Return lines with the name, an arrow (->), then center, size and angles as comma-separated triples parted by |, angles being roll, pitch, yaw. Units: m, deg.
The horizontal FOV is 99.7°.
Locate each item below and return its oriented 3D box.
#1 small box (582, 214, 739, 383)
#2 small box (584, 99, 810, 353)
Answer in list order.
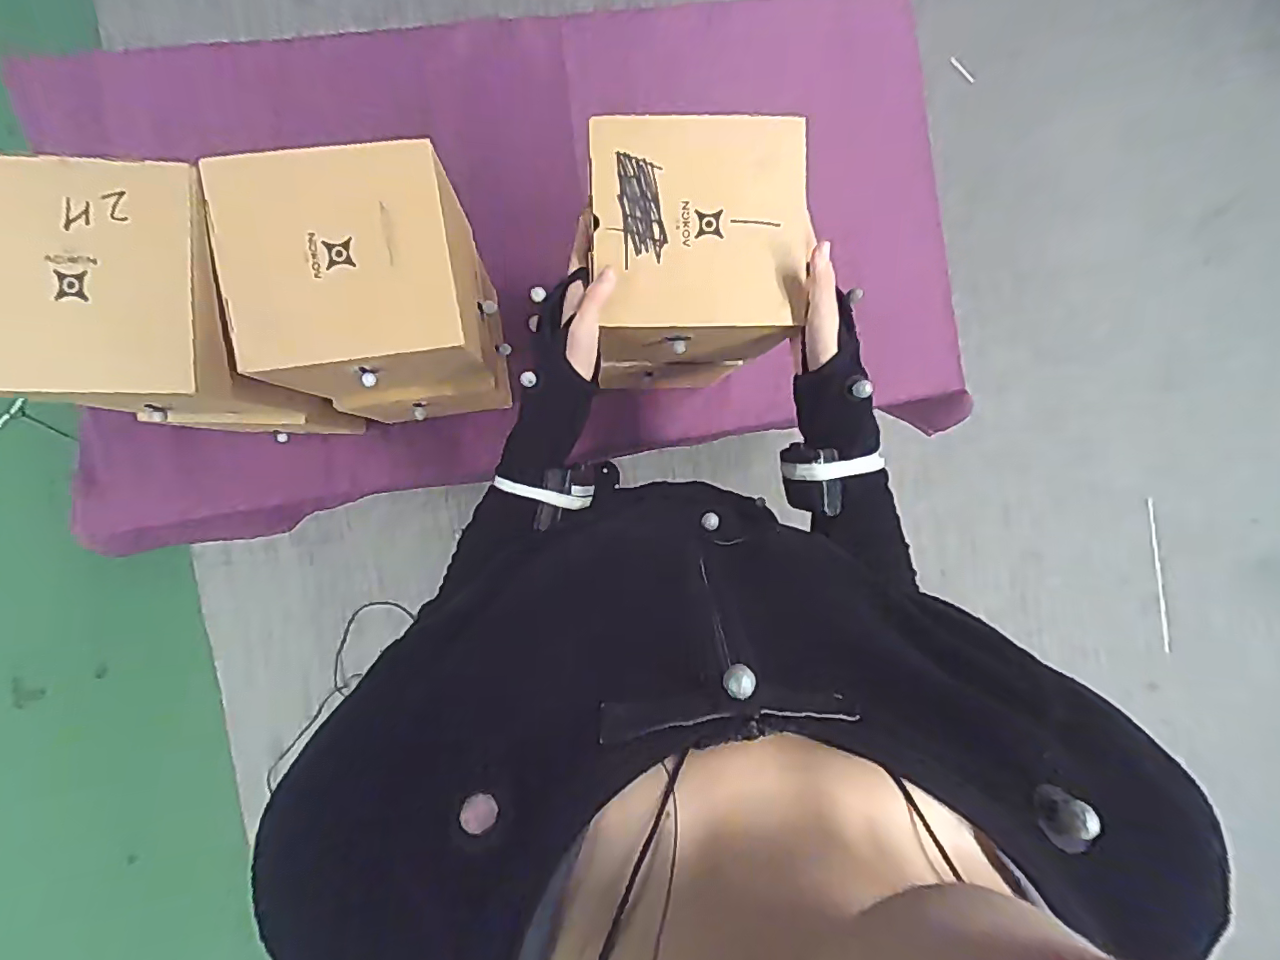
small box -> 0.017, -0.216, 0.683 | 0.179, 0.176, 0.168 | -2, 92, -6
small box -> 0.043, -0.213, 0.498 | 0.179, 0.176, 0.168 | -1, 94, -2
